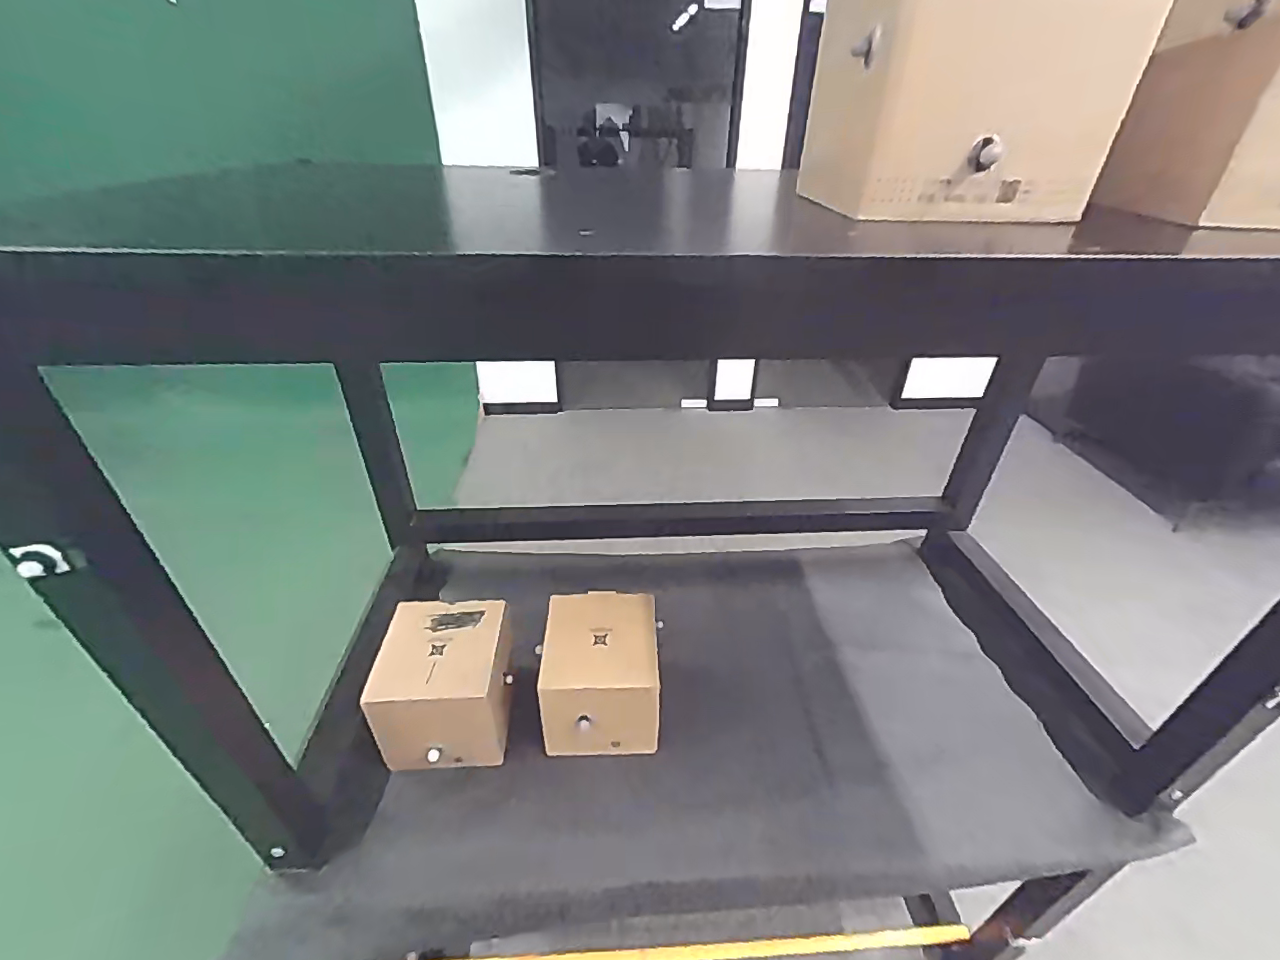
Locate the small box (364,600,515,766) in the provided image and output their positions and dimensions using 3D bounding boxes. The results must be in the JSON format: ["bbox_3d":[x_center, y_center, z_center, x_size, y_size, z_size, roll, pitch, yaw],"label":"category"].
[{"bbox_3d":[-0.288,0.304,0.822,0.168,0.176,0.179,-1,34,-4],"label":"small box"}]

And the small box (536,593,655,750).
[{"bbox_3d":[-0.062,0.299,0.843,0.168,0.176,0.179,0,33,-3],"label":"small box"}]
